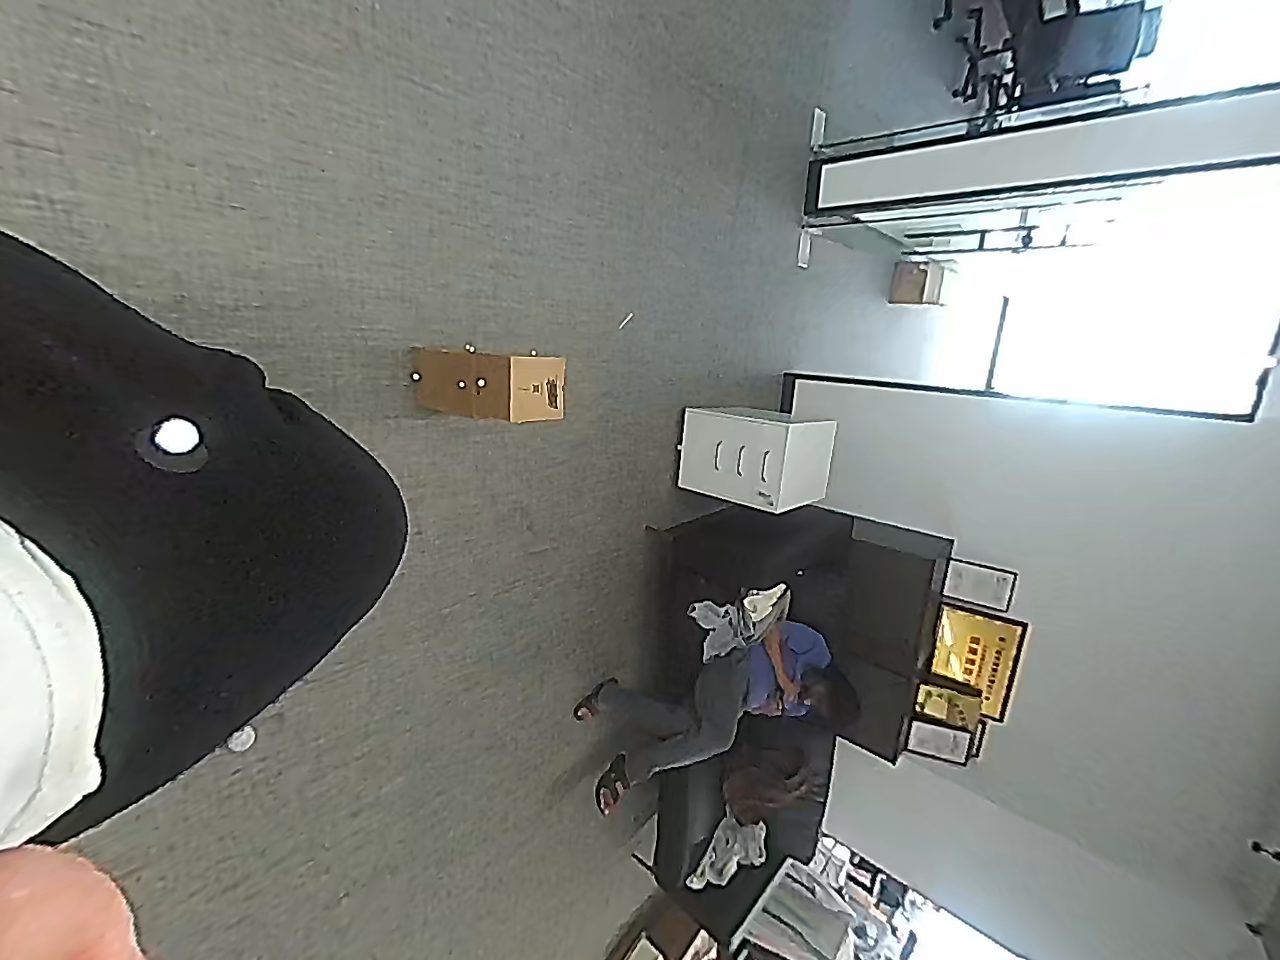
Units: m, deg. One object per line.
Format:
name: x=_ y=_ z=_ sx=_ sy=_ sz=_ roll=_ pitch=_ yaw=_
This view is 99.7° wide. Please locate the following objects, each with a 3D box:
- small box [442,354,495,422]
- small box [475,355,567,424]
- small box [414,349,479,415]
small box: x=-0.446 y=-0.266 z=1.538 sx=0.168 sy=0.176 sz=0.179 roll=-13 pitch=113 yaw=-48
small box: x=-0.317 y=-0.244 z=1.438 sx=0.179 sy=0.176 sz=0.168 roll=-11 pitch=109 yaw=-47
small box: x=-0.568 y=-0.300 z=1.641 sx=0.168 sy=0.176 sz=0.179 roll=-12 pitch=111 yaw=-48
